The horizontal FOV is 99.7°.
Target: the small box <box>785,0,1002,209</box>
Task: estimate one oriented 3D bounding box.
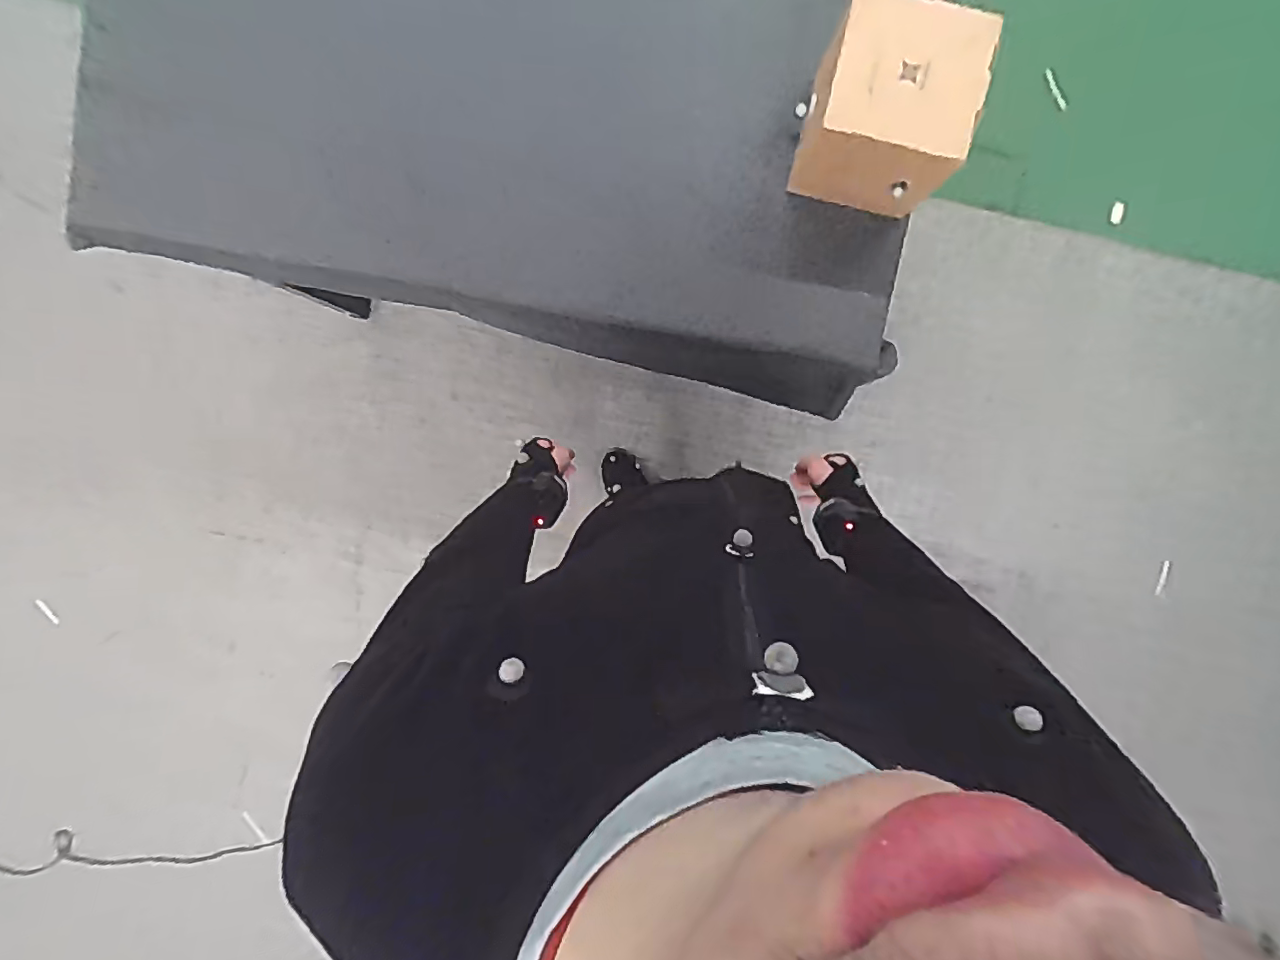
[{"bbox_3d":[0.306,-0.474,0.692,0.179,0.176,0.168,13,95,0],"label":"small box"}]
